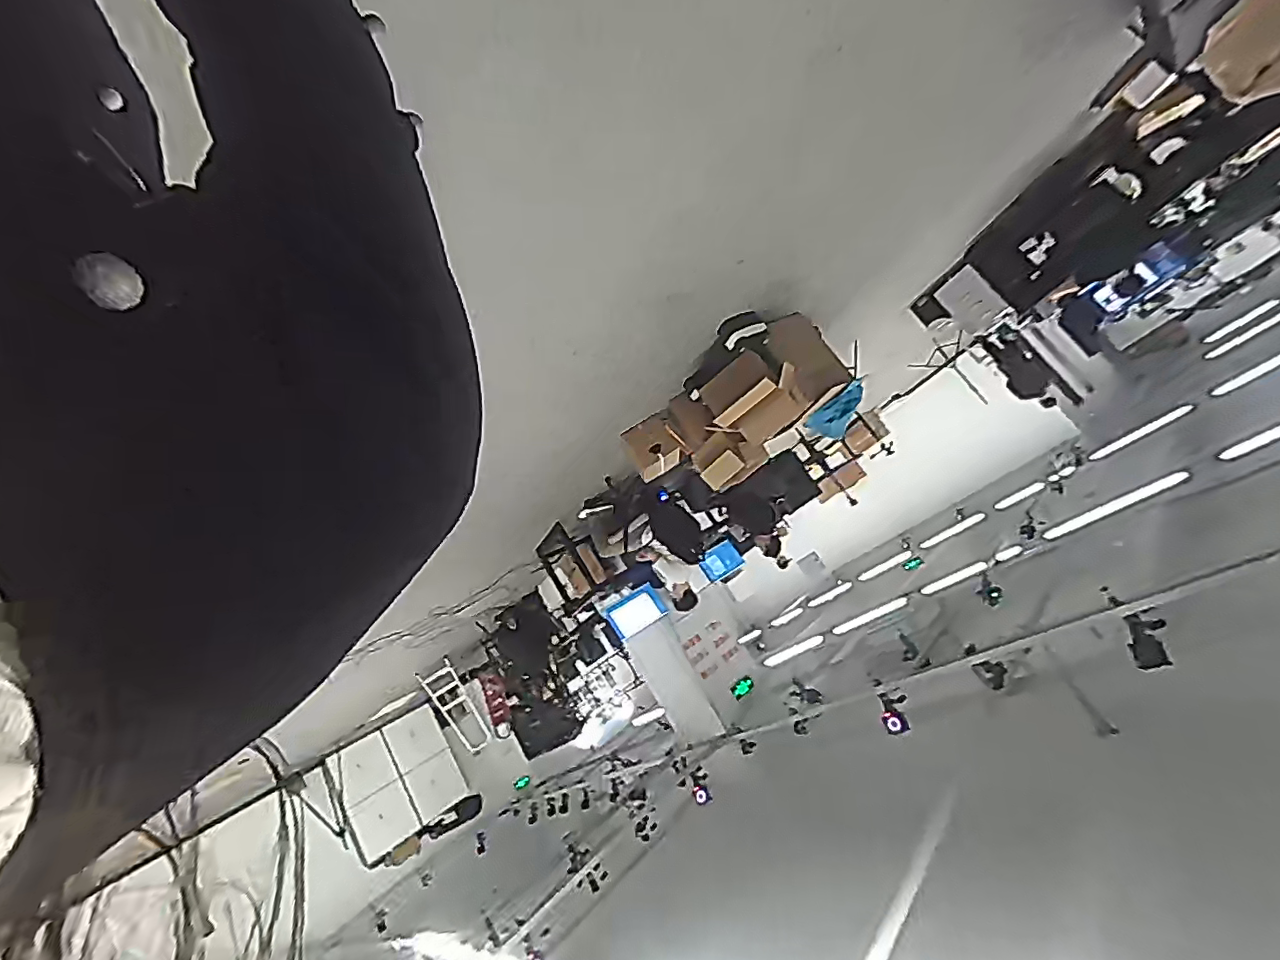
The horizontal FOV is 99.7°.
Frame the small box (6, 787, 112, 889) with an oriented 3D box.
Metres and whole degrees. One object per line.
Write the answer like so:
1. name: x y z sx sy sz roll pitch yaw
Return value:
1. small box: -1.661 1.021 1.547 0.179 0.176 0.168 -19 160 -44
